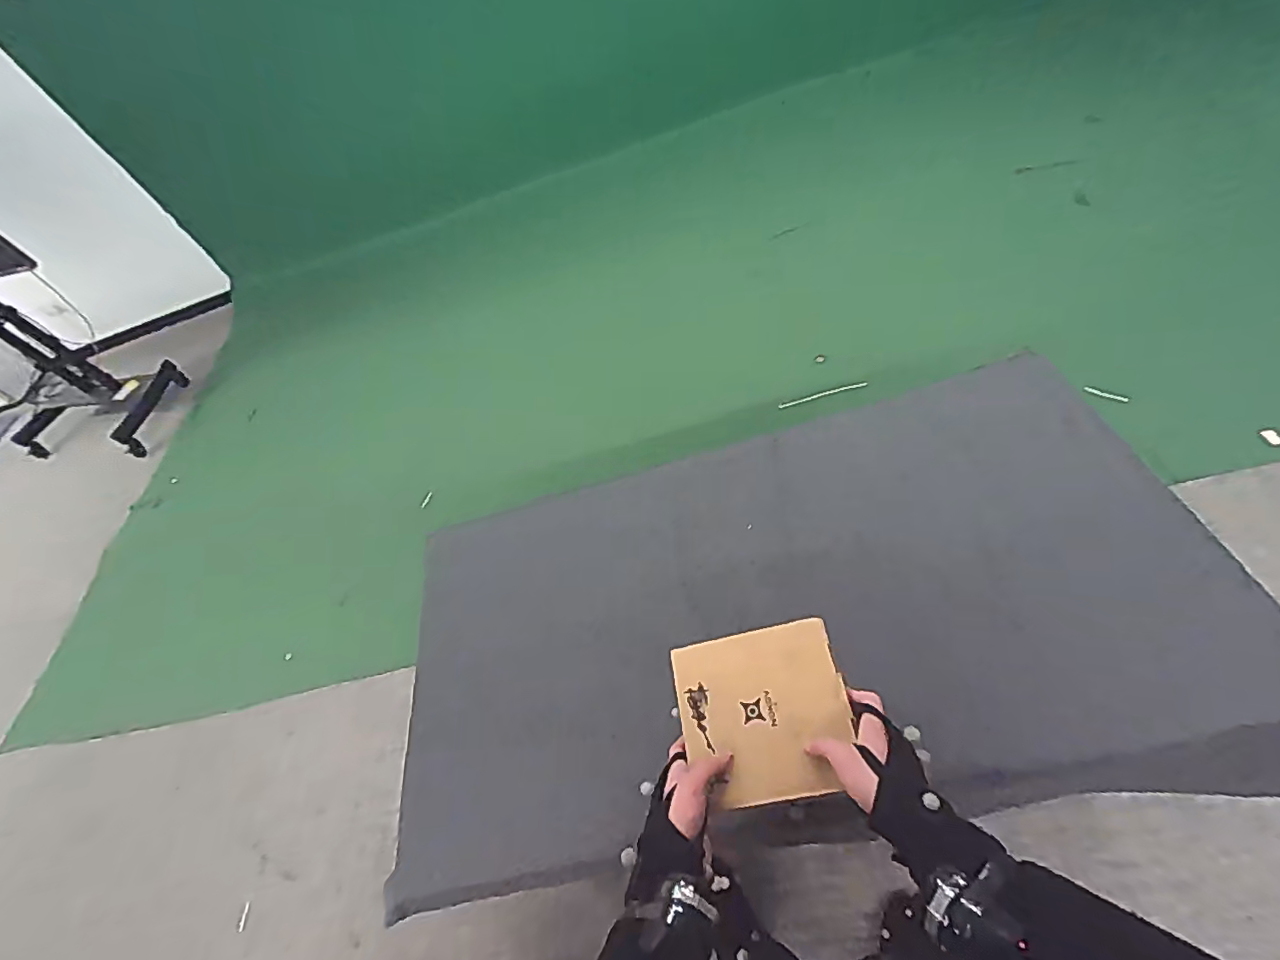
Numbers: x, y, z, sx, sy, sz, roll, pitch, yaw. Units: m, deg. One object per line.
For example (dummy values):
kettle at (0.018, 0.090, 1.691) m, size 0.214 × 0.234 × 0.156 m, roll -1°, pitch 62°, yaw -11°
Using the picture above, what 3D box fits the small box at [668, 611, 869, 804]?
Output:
small box at (0.145, 0.269, 0.626) m, size 0.179 × 0.176 × 0.168 m, roll -15°, pitch 56°, yaw 11°
